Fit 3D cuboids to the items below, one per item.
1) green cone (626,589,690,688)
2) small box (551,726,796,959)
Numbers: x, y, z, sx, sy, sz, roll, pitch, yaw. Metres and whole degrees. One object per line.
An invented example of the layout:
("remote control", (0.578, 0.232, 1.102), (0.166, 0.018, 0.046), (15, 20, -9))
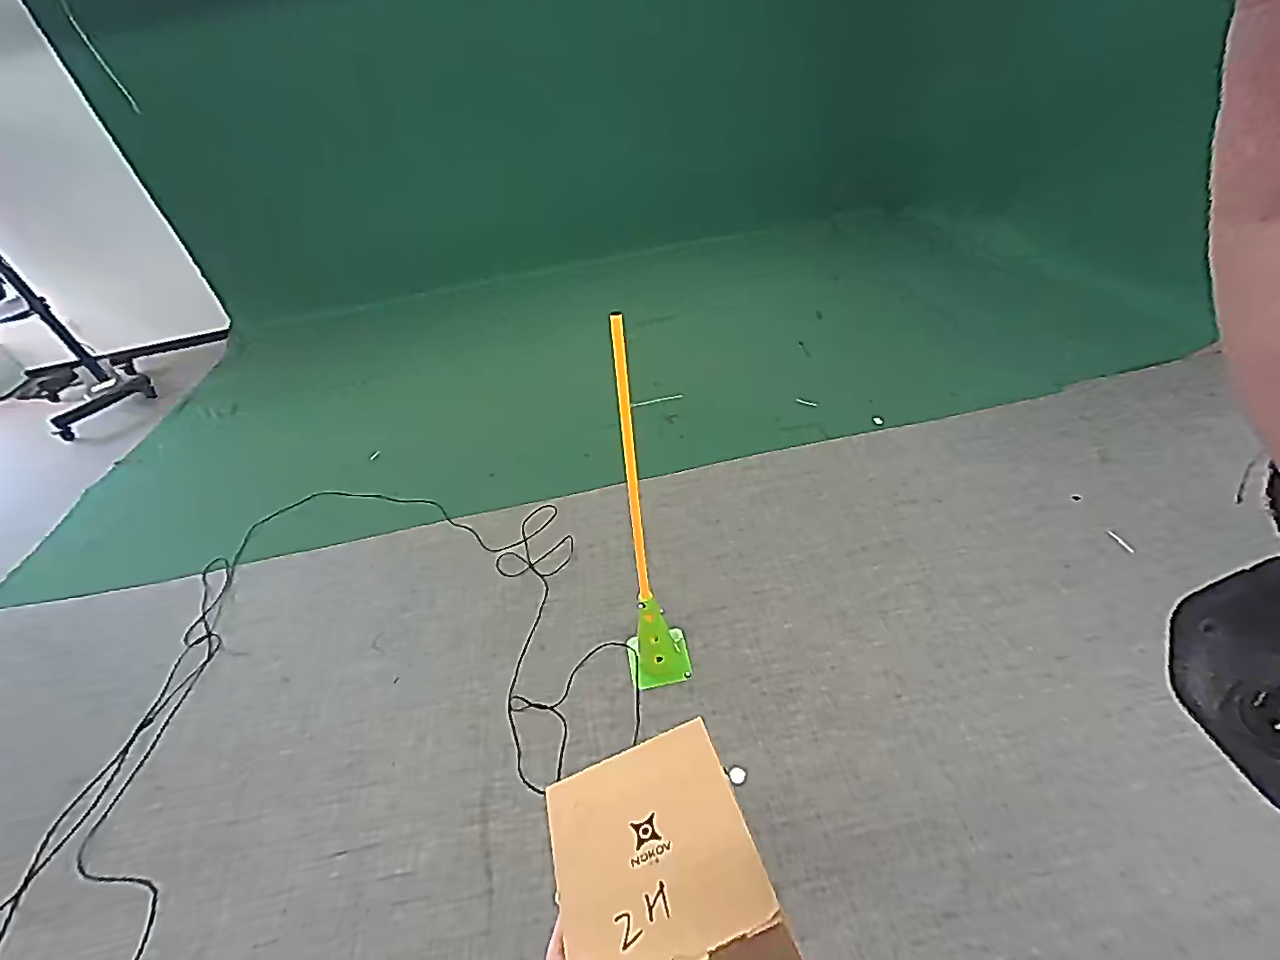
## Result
("green cone", (0.034, 0.473, 1.739), (0.202, 0.368, 0.200), (-12, 40, -1))
("small box", (0.030, 0.376, 0.500), (0.168, 0.176, 0.179), (-22, 32, -3))
